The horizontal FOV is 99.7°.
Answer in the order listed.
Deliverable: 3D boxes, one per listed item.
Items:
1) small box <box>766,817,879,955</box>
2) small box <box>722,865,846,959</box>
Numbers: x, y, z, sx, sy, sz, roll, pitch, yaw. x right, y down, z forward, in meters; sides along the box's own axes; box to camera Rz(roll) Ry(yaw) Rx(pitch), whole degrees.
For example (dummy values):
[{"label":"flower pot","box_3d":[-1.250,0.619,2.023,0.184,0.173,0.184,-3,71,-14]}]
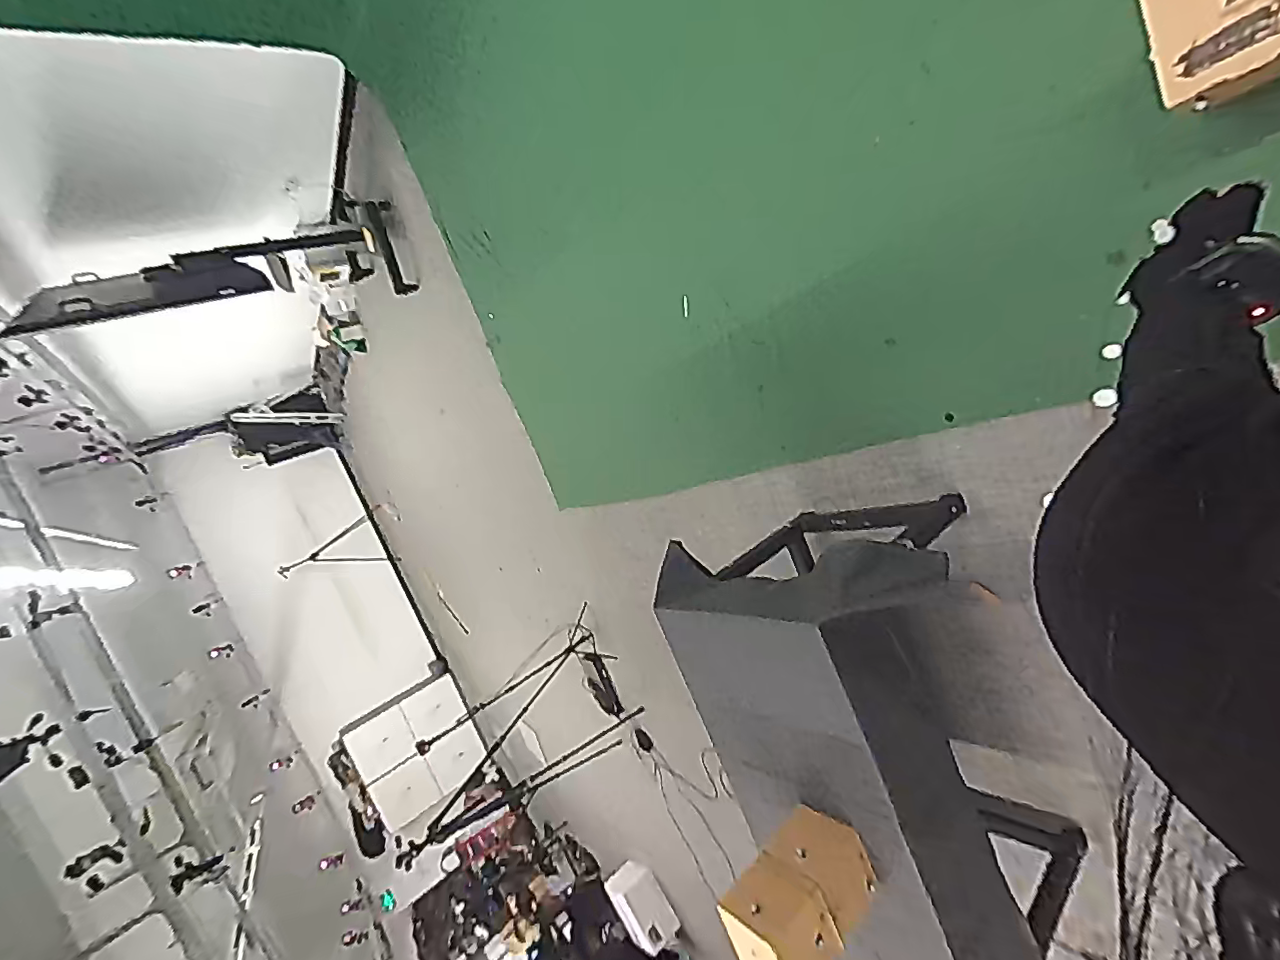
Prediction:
[{"label":"small box","box_3d":[0.442,0.952,1.291,0.179,0.176,0.168,-17,97,57]},{"label":"small box","box_3d":[0.319,1.009,1.201,0.179,0.176,0.168,-16,97,56]}]
